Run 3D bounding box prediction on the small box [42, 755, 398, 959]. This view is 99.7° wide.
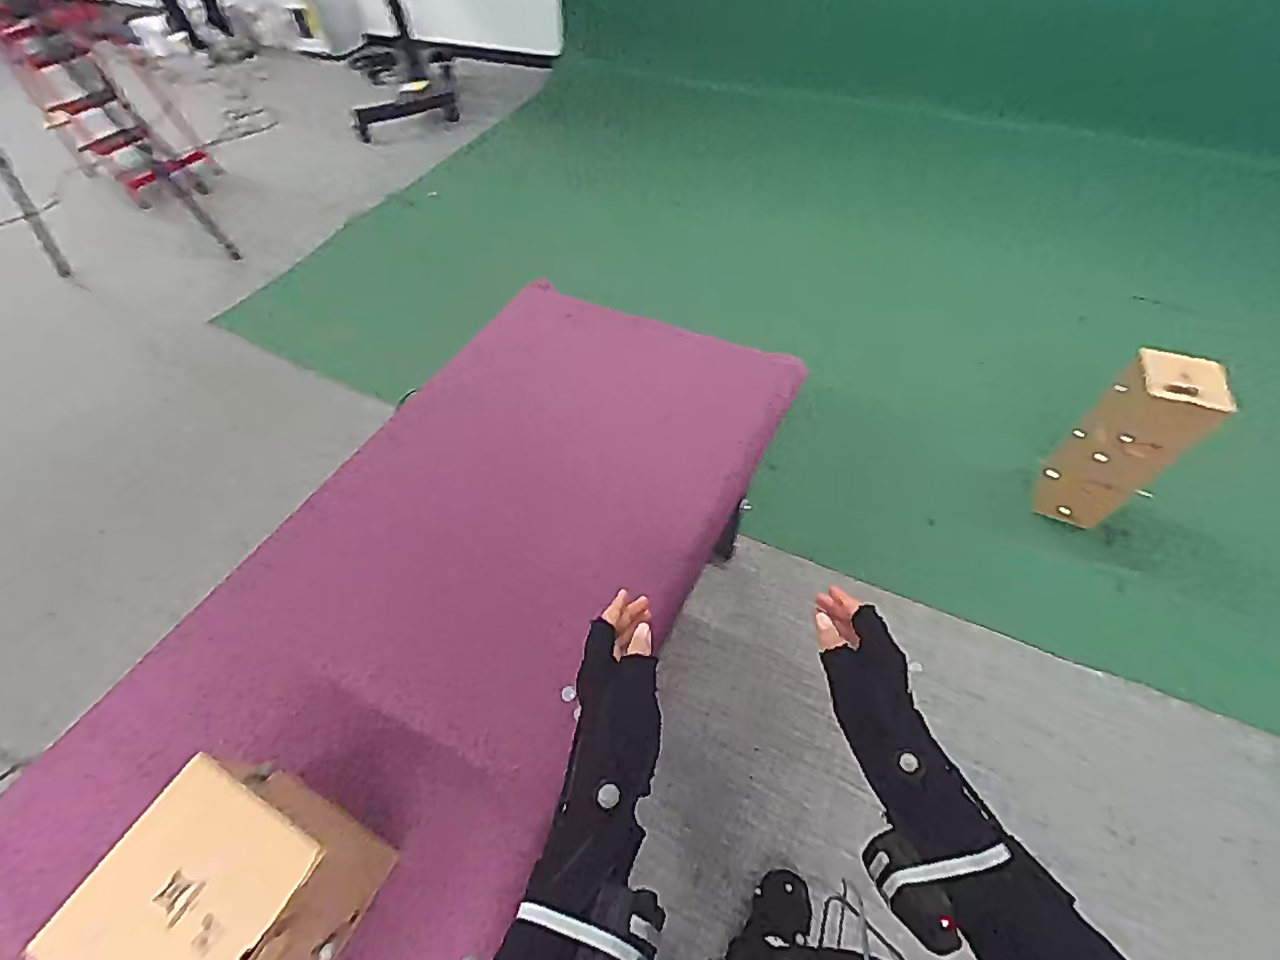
[{"bbox_3d":[-0.382,0.405,0.527,0.179,0.176,0.168,21,58,18],"label":"small box"}]

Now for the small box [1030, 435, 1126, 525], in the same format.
[{"bbox_3d":[1.294,0.002,1.606,0.168,0.176,0.179,21,59,17],"label":"small box"}]

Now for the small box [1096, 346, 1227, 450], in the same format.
[{"bbox_3d":[1.283,-0.200,1.346,0.168,0.176,0.179,16,56,14],"label":"small box"}]
